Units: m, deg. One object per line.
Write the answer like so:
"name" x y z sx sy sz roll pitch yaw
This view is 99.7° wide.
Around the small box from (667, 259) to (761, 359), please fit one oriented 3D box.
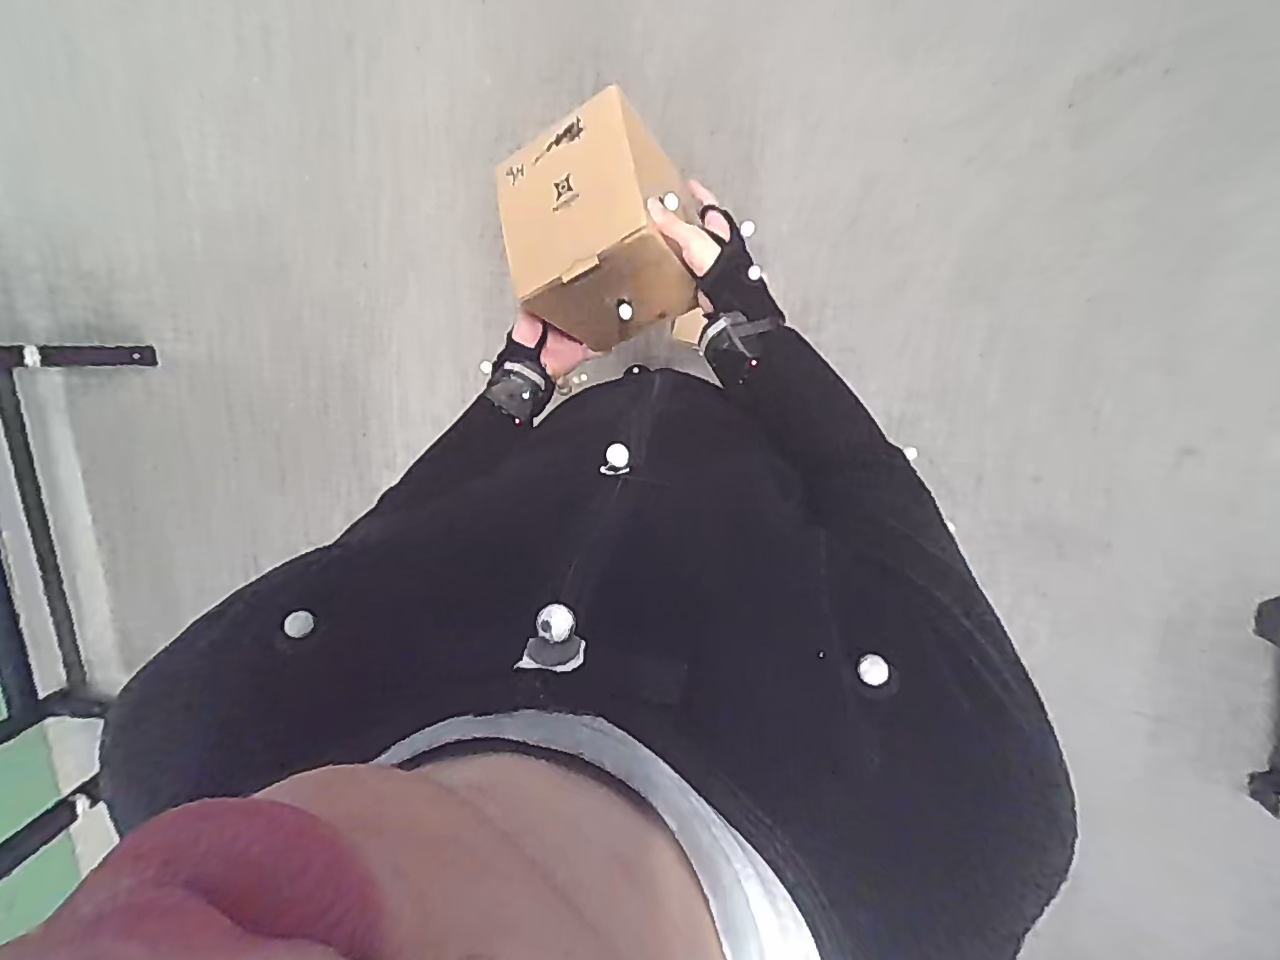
"small box" 0.161 -0.382 1.235 0.168 0.176 0.179 15 103 0
